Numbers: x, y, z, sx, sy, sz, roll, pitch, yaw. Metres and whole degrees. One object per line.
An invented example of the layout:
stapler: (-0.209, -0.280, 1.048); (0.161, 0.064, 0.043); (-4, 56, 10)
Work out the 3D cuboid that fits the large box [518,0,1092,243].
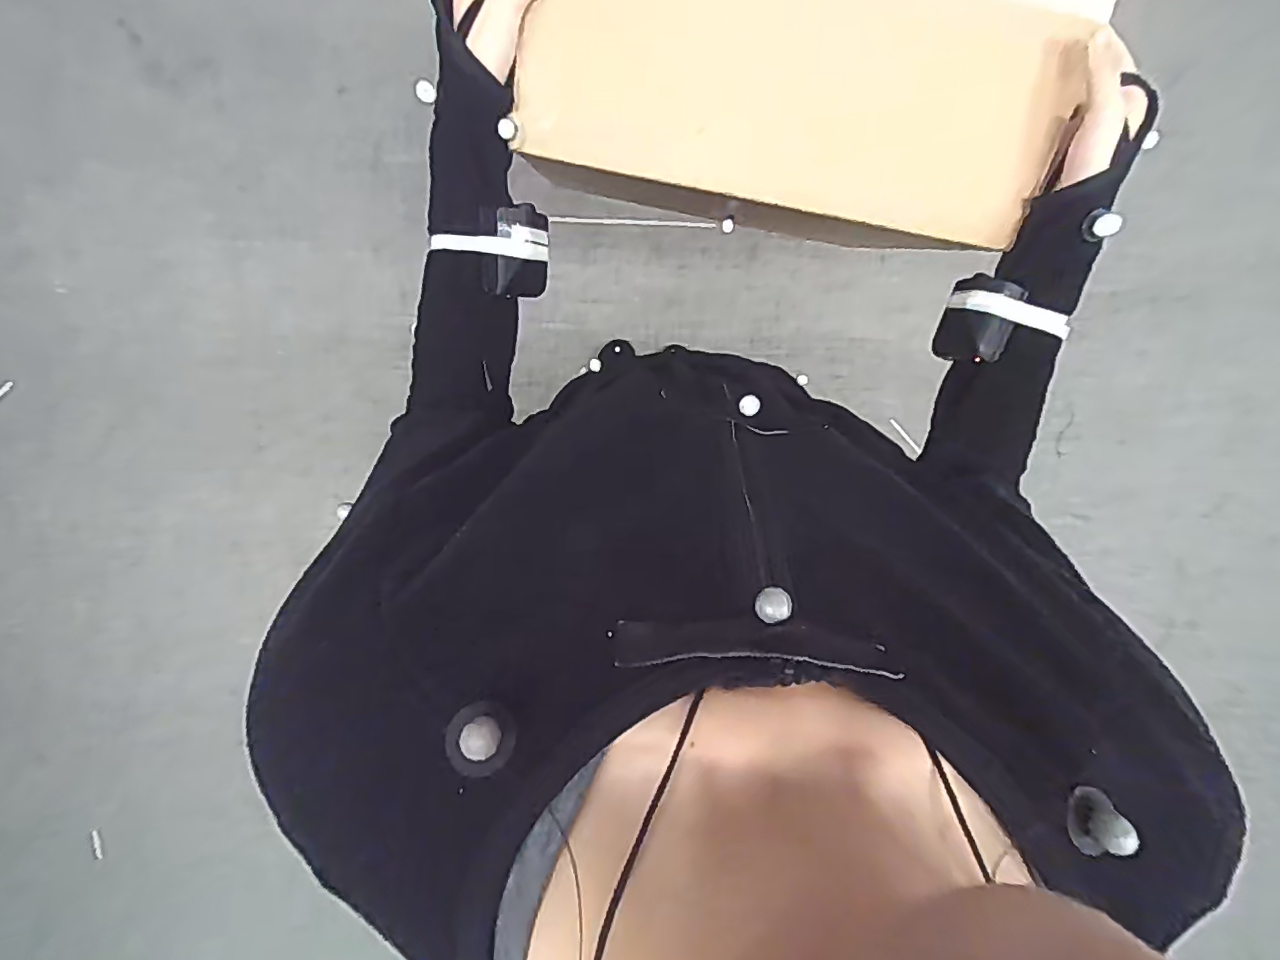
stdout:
large box: (0.122, -0.420, 0.506); (0.408, 0.320, 0.320); (8, 113, -6)
